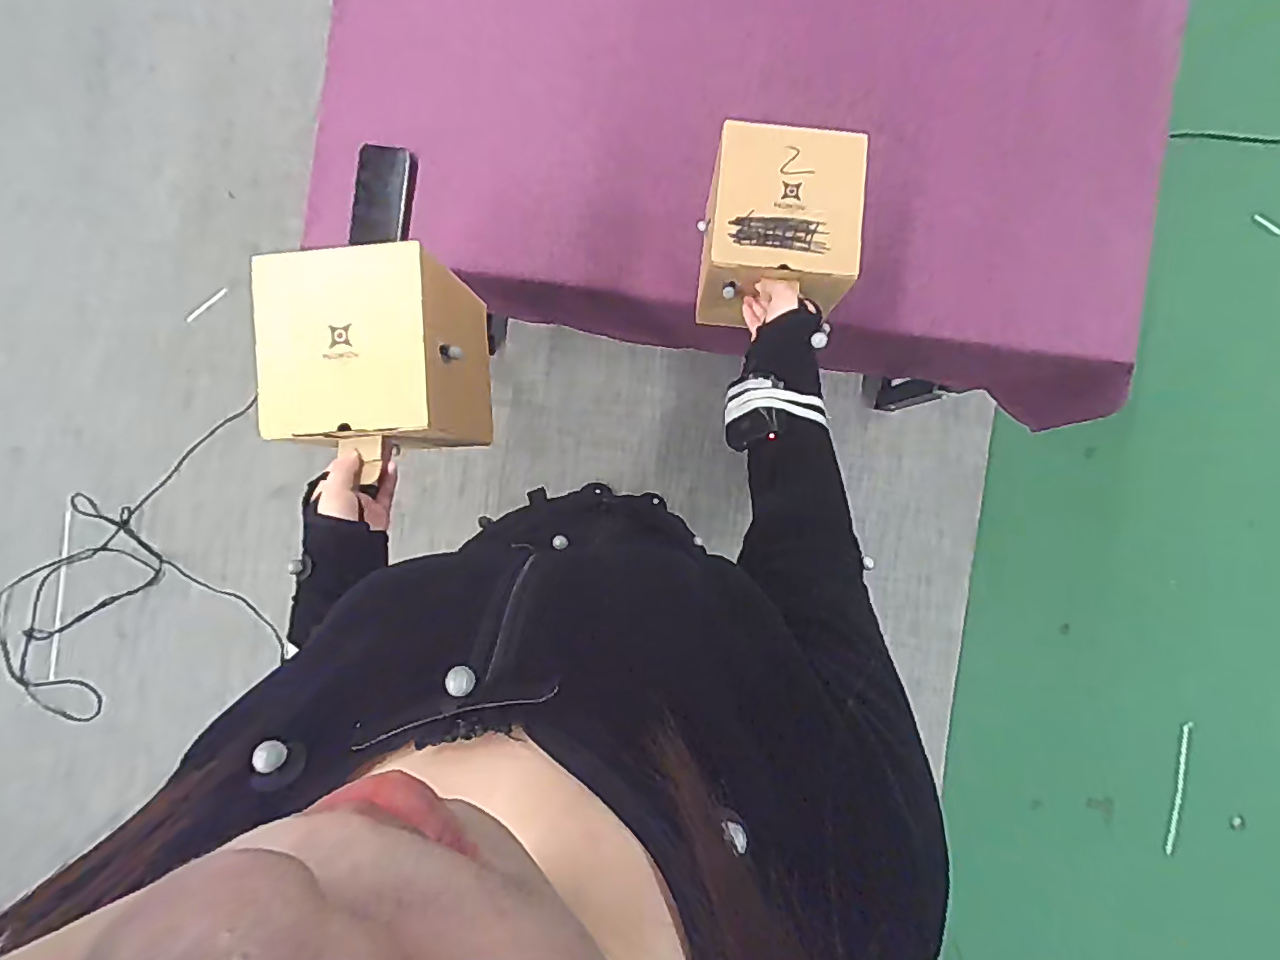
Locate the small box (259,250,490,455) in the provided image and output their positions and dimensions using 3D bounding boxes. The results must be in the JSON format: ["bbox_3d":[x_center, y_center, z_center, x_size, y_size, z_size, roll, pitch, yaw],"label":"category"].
[{"bbox_3d":[-0.268,-0.122,0.580,0.168,0.176,0.179,-3,89,4],"label":"small box"}]
